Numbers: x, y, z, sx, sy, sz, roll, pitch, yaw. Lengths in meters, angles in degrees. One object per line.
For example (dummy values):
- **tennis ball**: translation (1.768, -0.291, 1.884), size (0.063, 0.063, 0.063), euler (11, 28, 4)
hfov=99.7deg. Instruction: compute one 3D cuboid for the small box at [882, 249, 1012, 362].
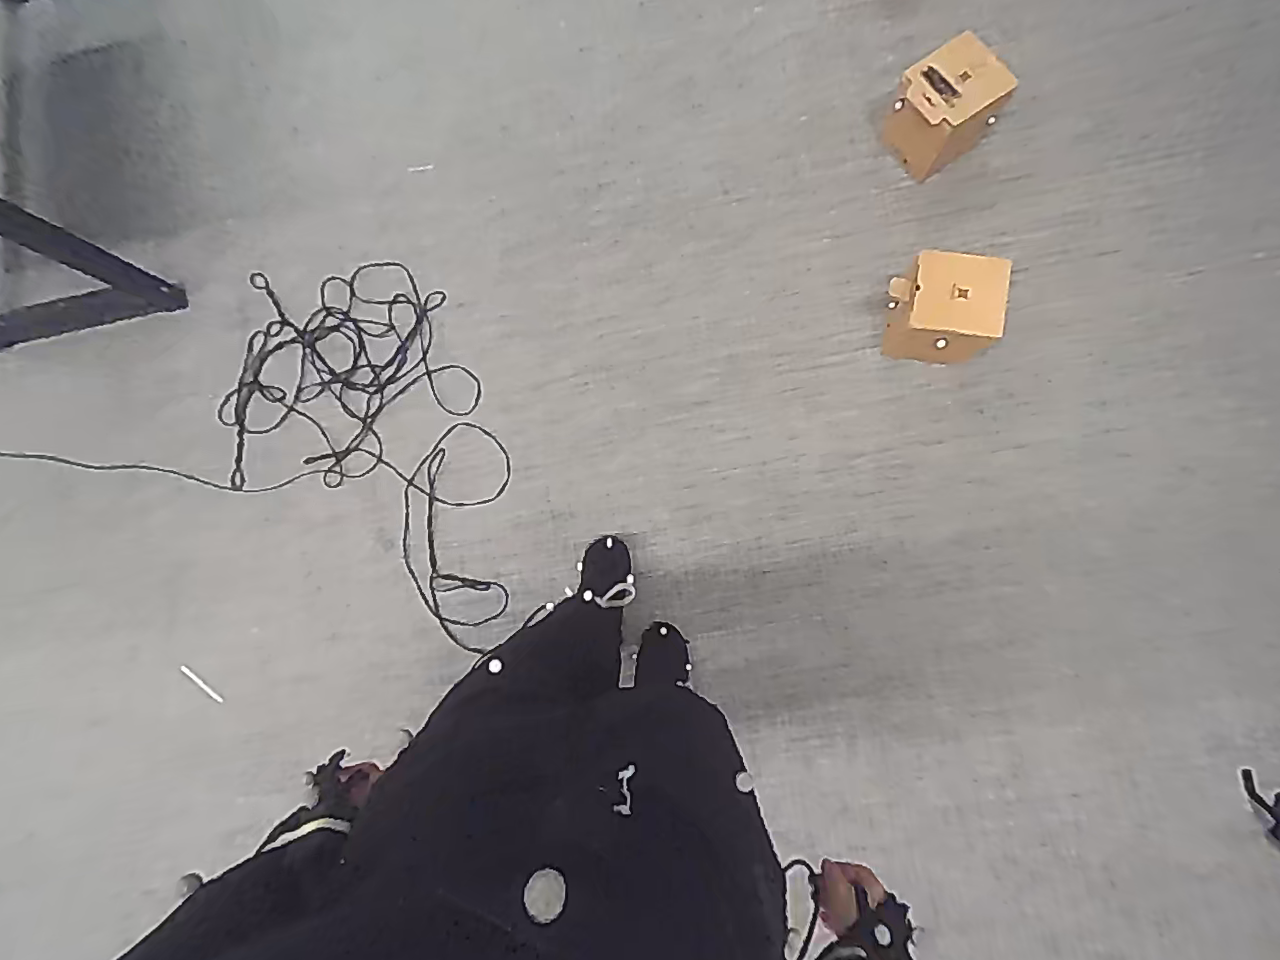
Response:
- **small box**: translation (0.638, -0.359, 1.141), size (0.179, 0.176, 0.168), euler (10, 84, 8)
